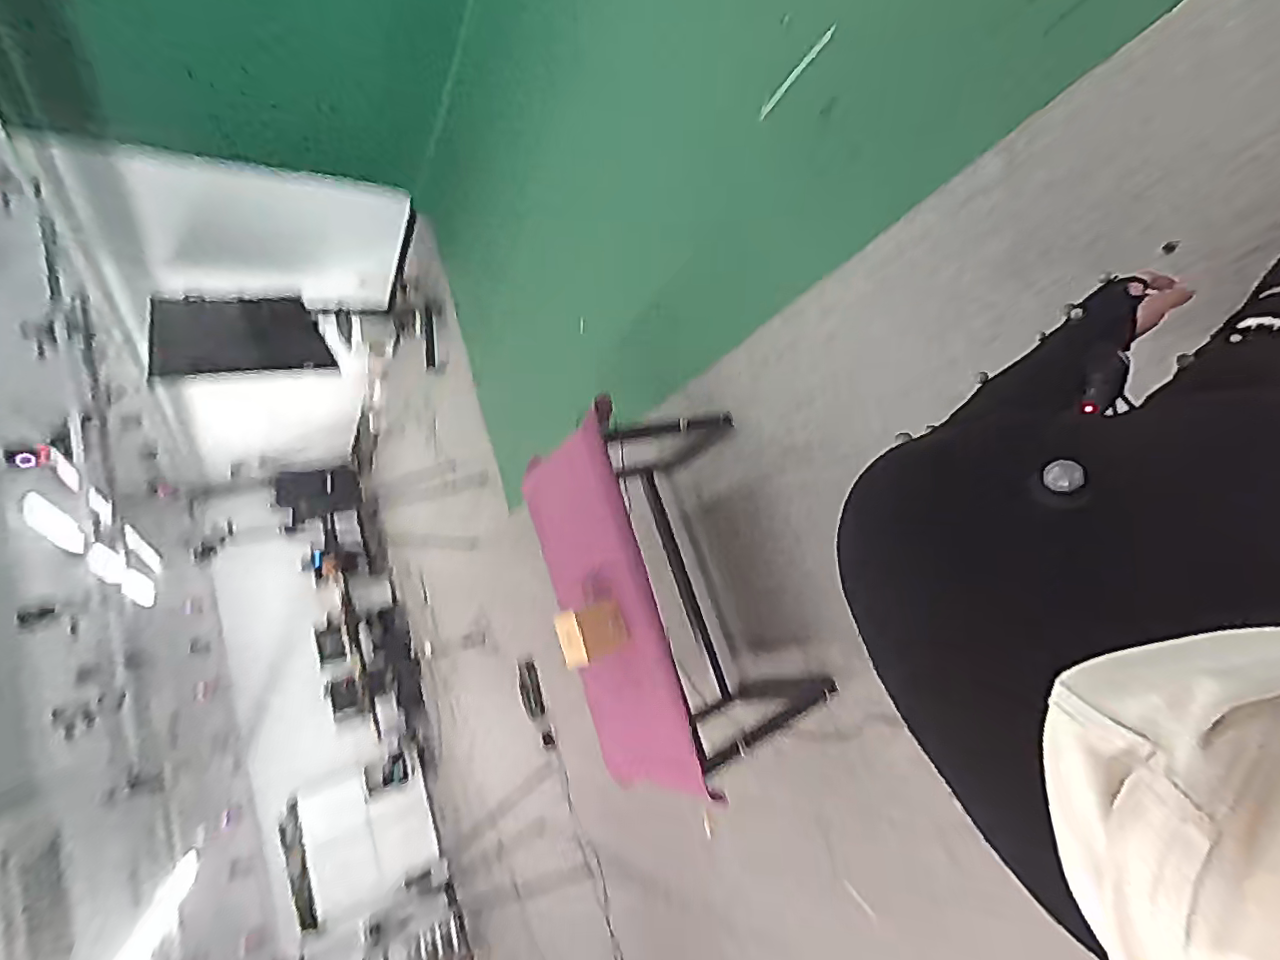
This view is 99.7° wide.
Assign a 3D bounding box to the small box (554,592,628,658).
[{"bbox_3d":[-0.166,0.495,1.842,0.179,0.176,0.168,-34,72,52],"label":"small box"}]
